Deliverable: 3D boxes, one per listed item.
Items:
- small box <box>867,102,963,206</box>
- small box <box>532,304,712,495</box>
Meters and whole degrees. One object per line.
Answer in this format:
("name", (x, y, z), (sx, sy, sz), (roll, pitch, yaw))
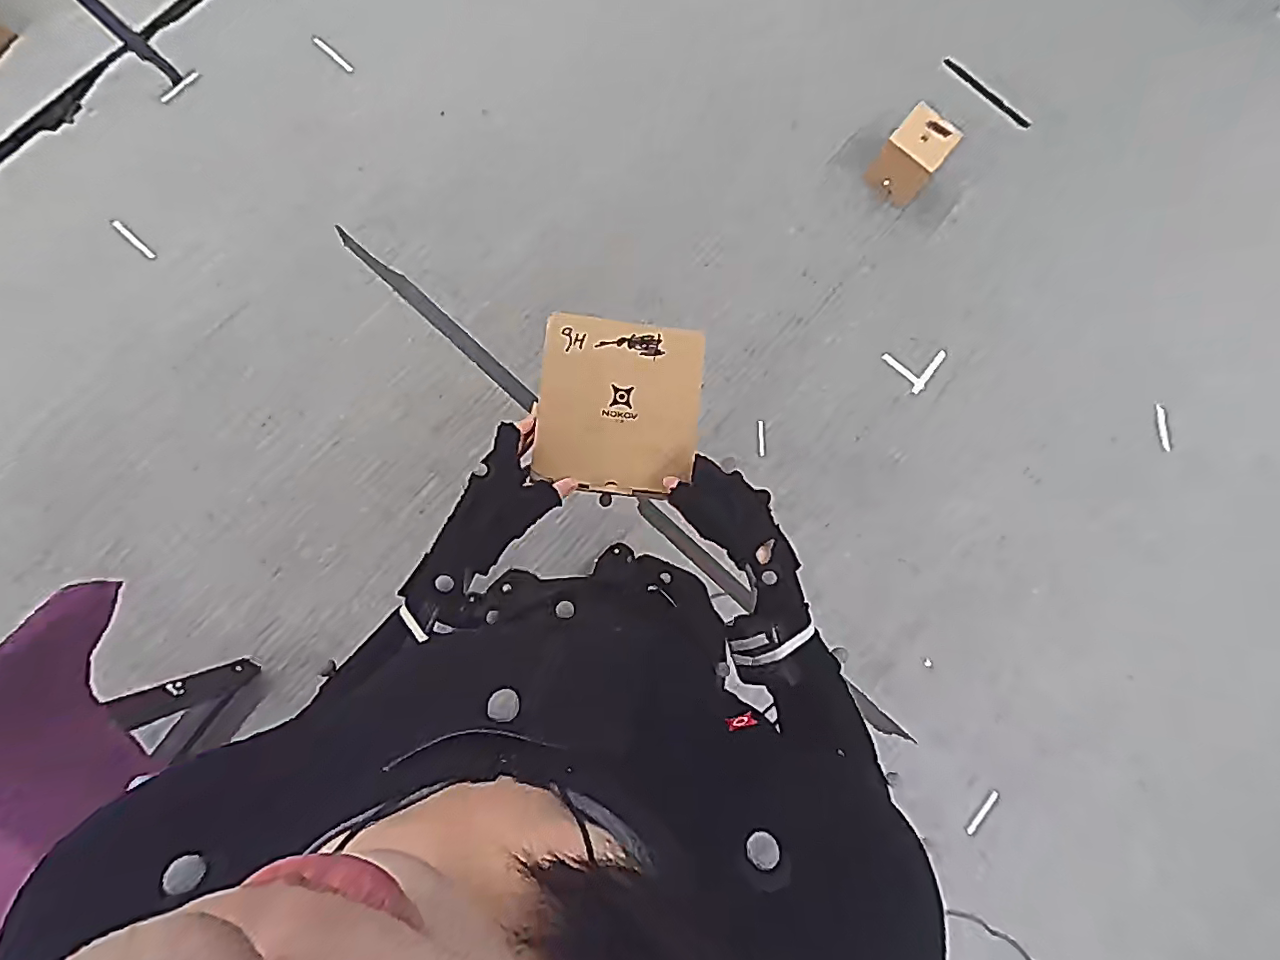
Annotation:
("small box", (0.844, -1.005, 1.679), (0.168, 0.176, 0.179), (40, 82, 1))
("small box", (-0.024, -0.078, 0.617), (0.168, 0.176, 0.179), (6, 88, -6))
